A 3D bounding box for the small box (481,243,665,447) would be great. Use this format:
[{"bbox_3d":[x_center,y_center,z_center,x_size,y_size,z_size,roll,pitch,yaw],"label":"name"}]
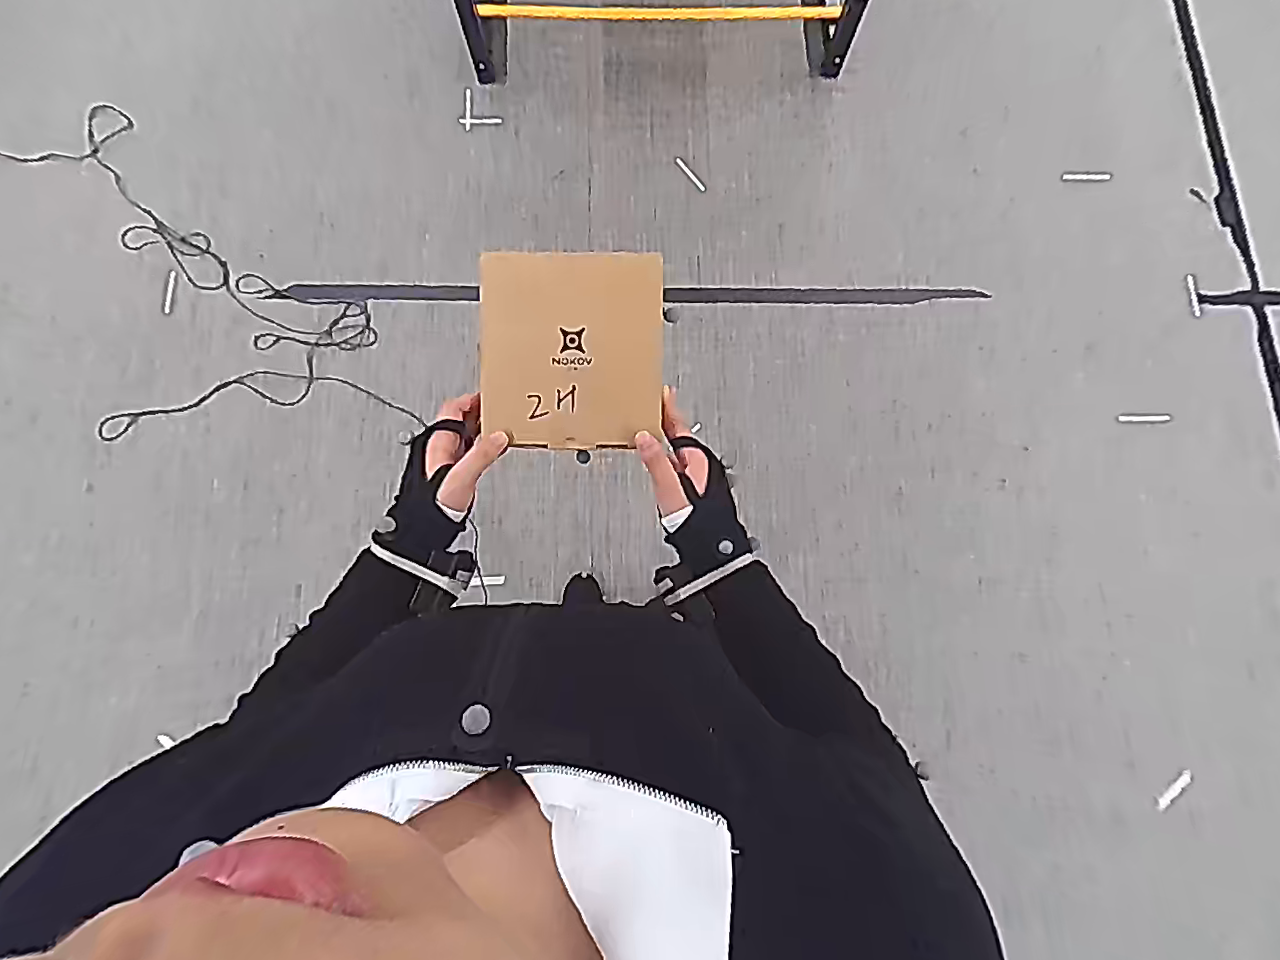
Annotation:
[{"bbox_3d":[-0.061,-0.127,0.565,0.168,0.176,0.179,0,92,1],"label":"small box"}]
